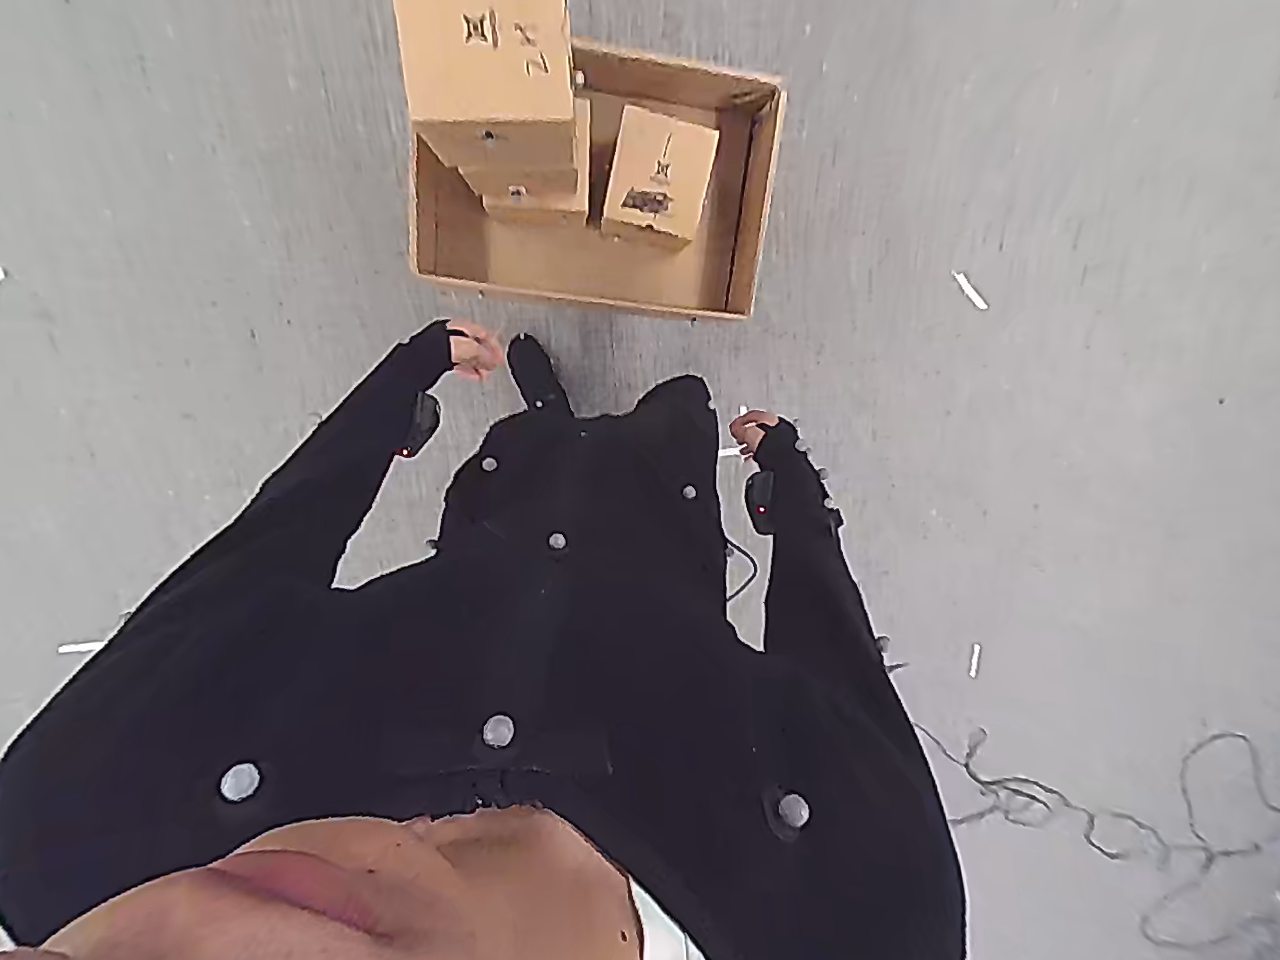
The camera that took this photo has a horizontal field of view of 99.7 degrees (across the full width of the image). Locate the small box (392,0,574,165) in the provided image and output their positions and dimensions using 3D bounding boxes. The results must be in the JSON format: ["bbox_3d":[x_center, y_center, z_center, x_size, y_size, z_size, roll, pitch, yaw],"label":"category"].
[{"bbox_3d":[-0.169,-0.481,0.632,0.179,0.176,0.168,-4,107,-6],"label":"small box"}]

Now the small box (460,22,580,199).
[{"bbox_3d":[-0.177,-0.527,0.789,0.168,0.176,0.179,-4,106,-6],"label":"small box"}]
